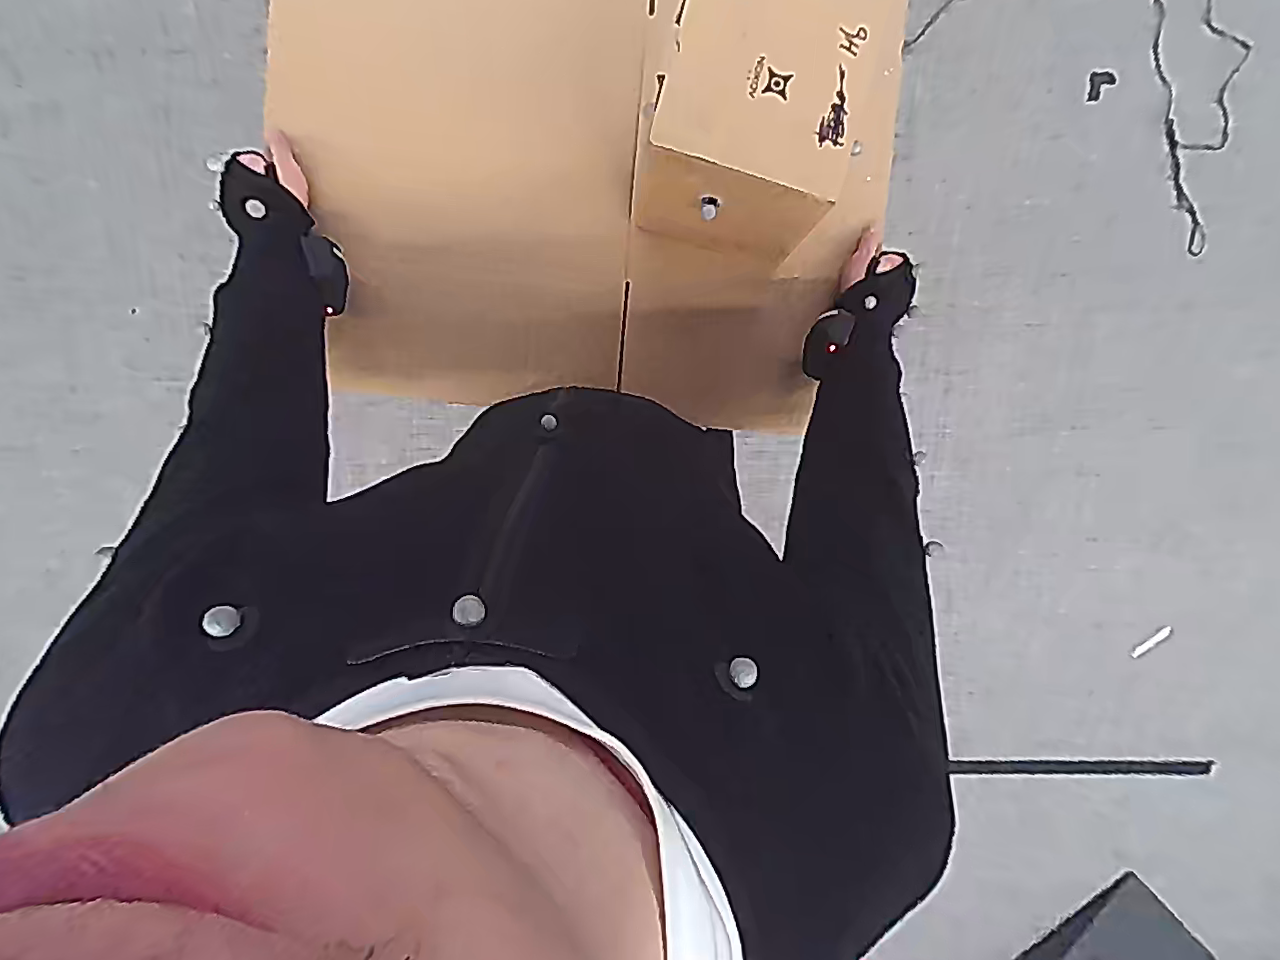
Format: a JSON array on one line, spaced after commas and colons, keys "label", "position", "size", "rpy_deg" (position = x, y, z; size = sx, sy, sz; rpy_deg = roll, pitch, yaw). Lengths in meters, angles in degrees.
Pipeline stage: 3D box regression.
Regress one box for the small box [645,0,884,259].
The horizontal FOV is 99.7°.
[{"label": "small box", "position": [0.107, -0.350, 0.552], "size": [0.179, 0.176, 0.168], "rpy_deg": [15, 92, -3]}]
